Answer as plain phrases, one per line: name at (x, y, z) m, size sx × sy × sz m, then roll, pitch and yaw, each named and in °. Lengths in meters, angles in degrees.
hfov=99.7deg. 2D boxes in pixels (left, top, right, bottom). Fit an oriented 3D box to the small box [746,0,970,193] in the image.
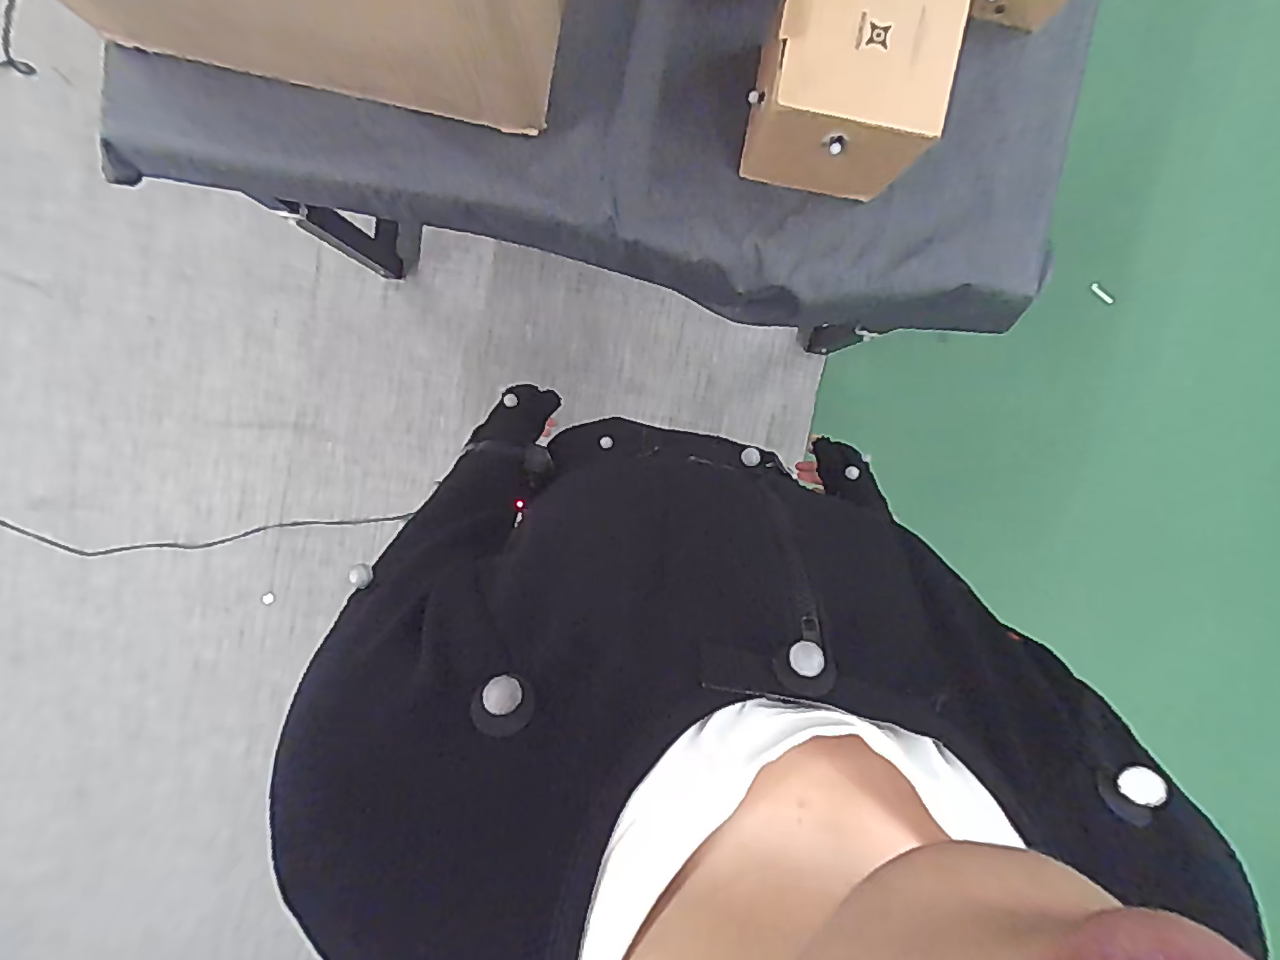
small box at (0.233, -0.455, 0.618) m, size 0.179 × 0.176 × 0.168 m, roll 10°, pitch 97°, yaw -4°
